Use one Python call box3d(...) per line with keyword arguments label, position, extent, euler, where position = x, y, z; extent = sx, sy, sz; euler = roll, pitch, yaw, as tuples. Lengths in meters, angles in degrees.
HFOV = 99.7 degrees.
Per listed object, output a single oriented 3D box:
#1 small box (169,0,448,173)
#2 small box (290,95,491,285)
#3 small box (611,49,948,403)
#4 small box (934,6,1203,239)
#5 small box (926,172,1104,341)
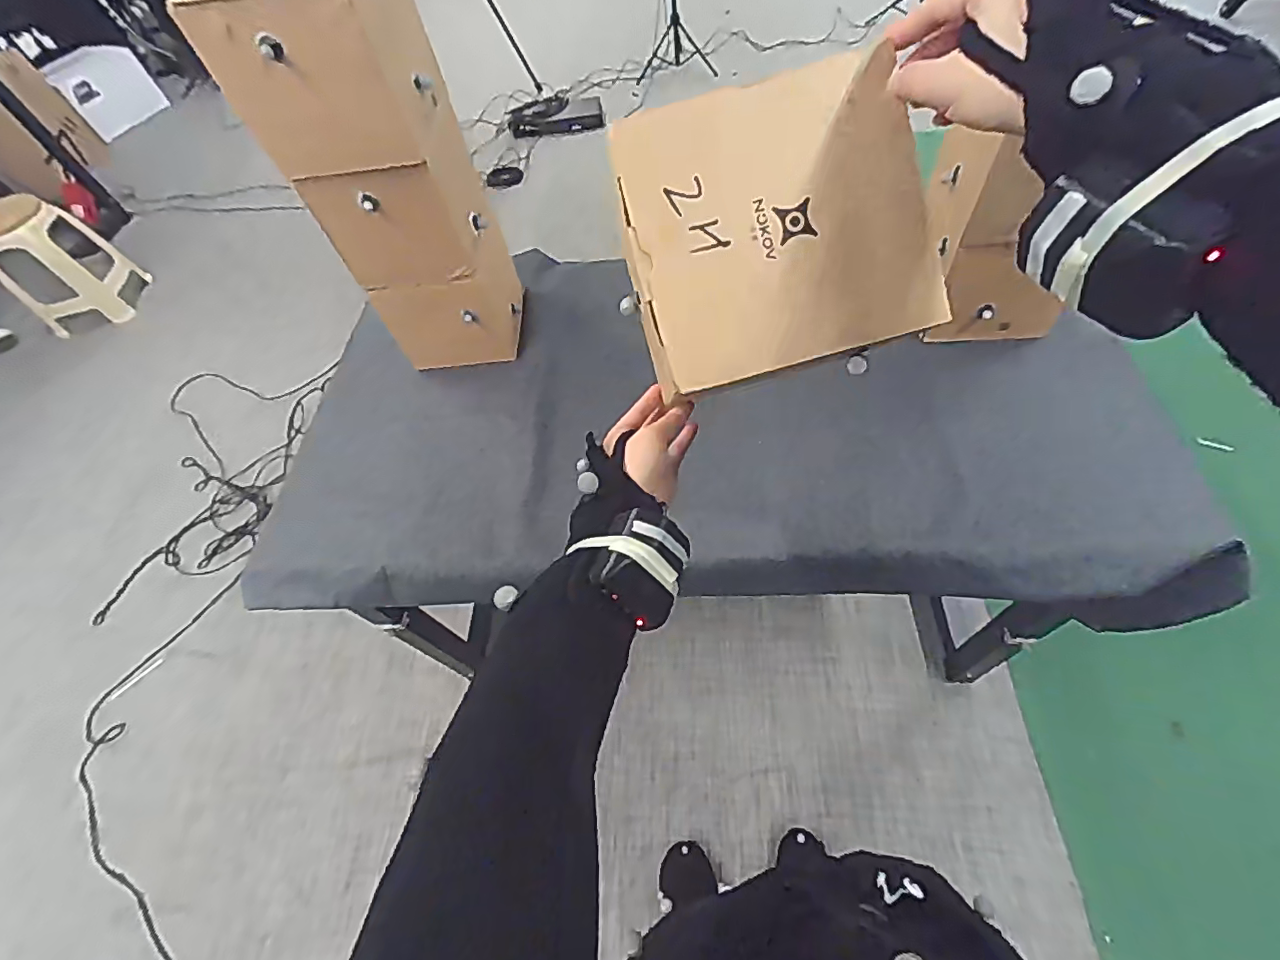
box3d(label="small box", position=(-0.341, -0.468, 0.600), extent=(0.179, 0.176, 0.168), euler=(-3, 59, 5))
box3d(label="small box", position=(-0.325, -0.390, 0.744), extent=(0.179, 0.176, 0.168), euler=(-5, 59, 4))
box3d(label="small box", position=(0.085, -0.158, 0.400), extent=(0.179, 0.176, 0.168), euler=(-14, 94, 3))
box3d(label="small box", position=(0.468, -0.401, 0.629), extent=(0.168, 0.176, 0.179), euler=(0, 60, 9))
box3d(label="small box", position=(0.493, -0.320, 0.770), extent=(0.168, 0.176, 0.179), euler=(0, 59, 9))
